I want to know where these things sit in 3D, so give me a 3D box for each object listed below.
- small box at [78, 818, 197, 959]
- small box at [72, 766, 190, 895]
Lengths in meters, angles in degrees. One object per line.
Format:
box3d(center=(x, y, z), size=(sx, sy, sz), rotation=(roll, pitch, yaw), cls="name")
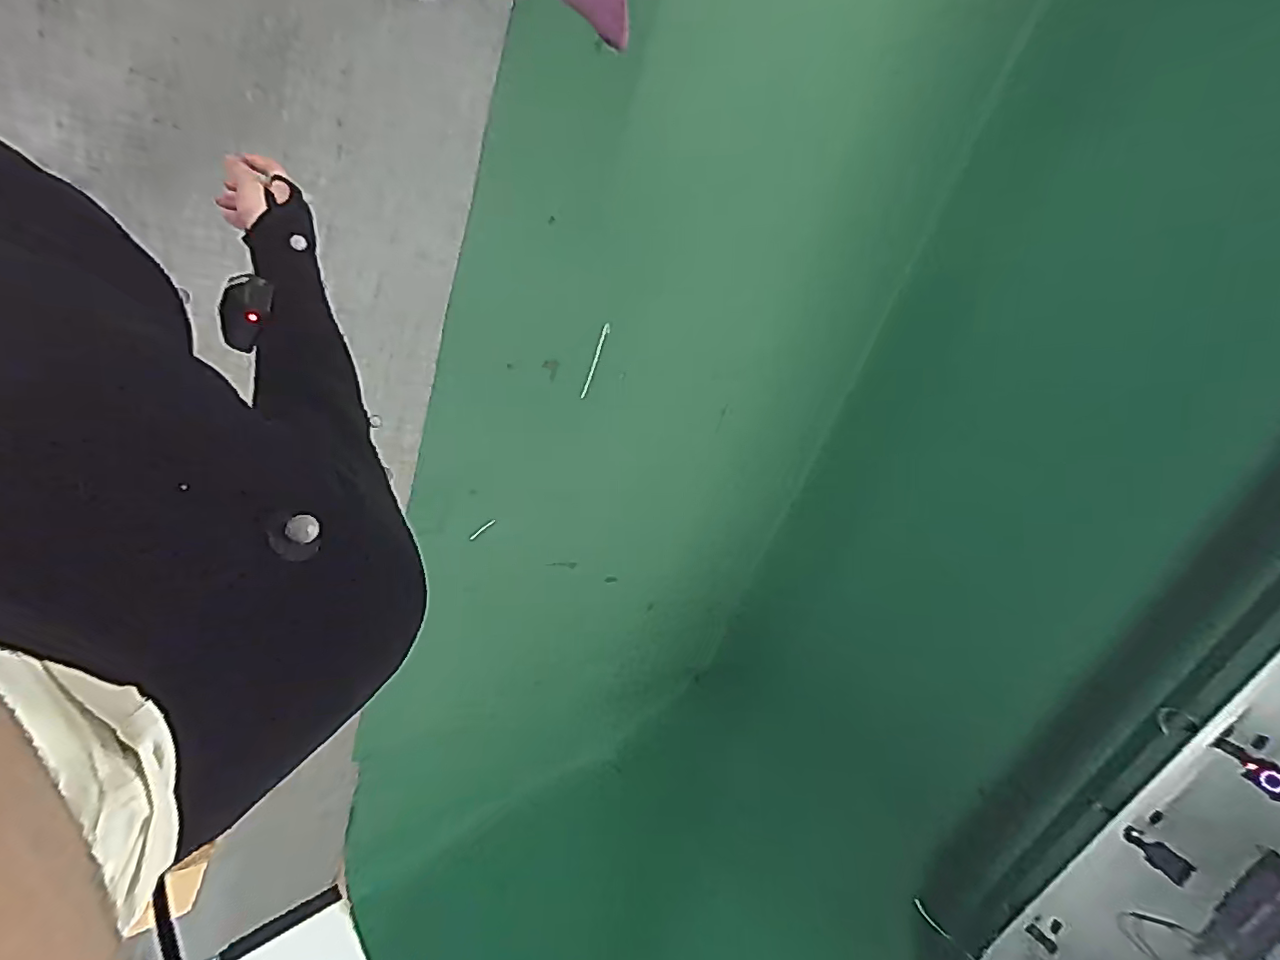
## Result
box3d(center=(-1.131, 0.912, 1.213), size=(0.168, 0.176, 0.179), rotation=(9, 112, -52), cls="small box")
box3d(center=(-1.238, 0.837, 1.312), size=(0.179, 0.176, 0.168), rotation=(8, 113, -52), cls="small box")
